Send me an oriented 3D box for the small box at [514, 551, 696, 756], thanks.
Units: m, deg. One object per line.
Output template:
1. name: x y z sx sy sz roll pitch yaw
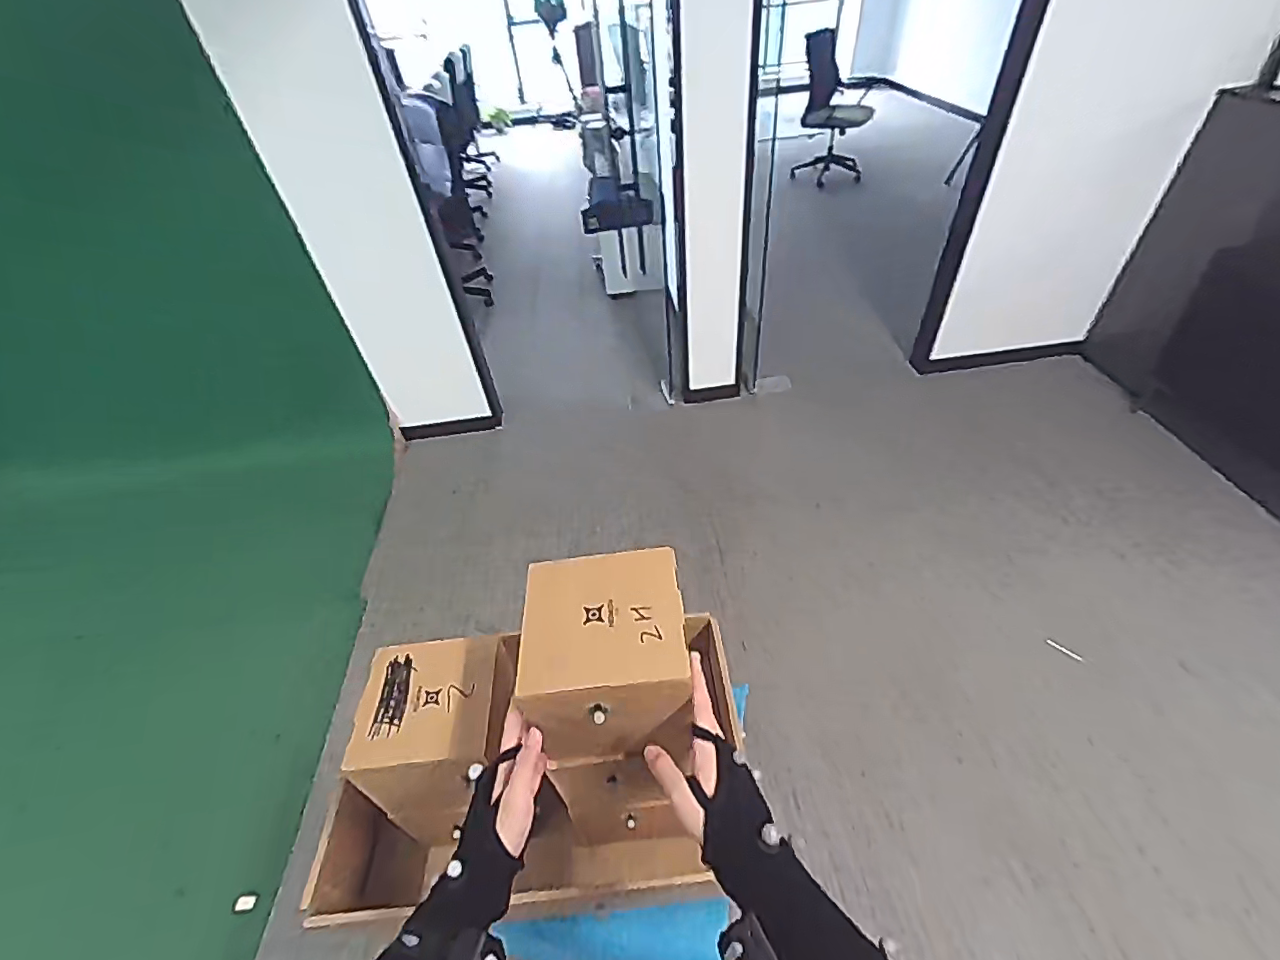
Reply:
1. small box: -0.032 0.208 0.637 0.179 0.176 0.168 -6 43 2

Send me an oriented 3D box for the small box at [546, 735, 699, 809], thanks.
1. small box: -0.020 0.333 0.745 0.179 0.176 0.168 -9 43 1
